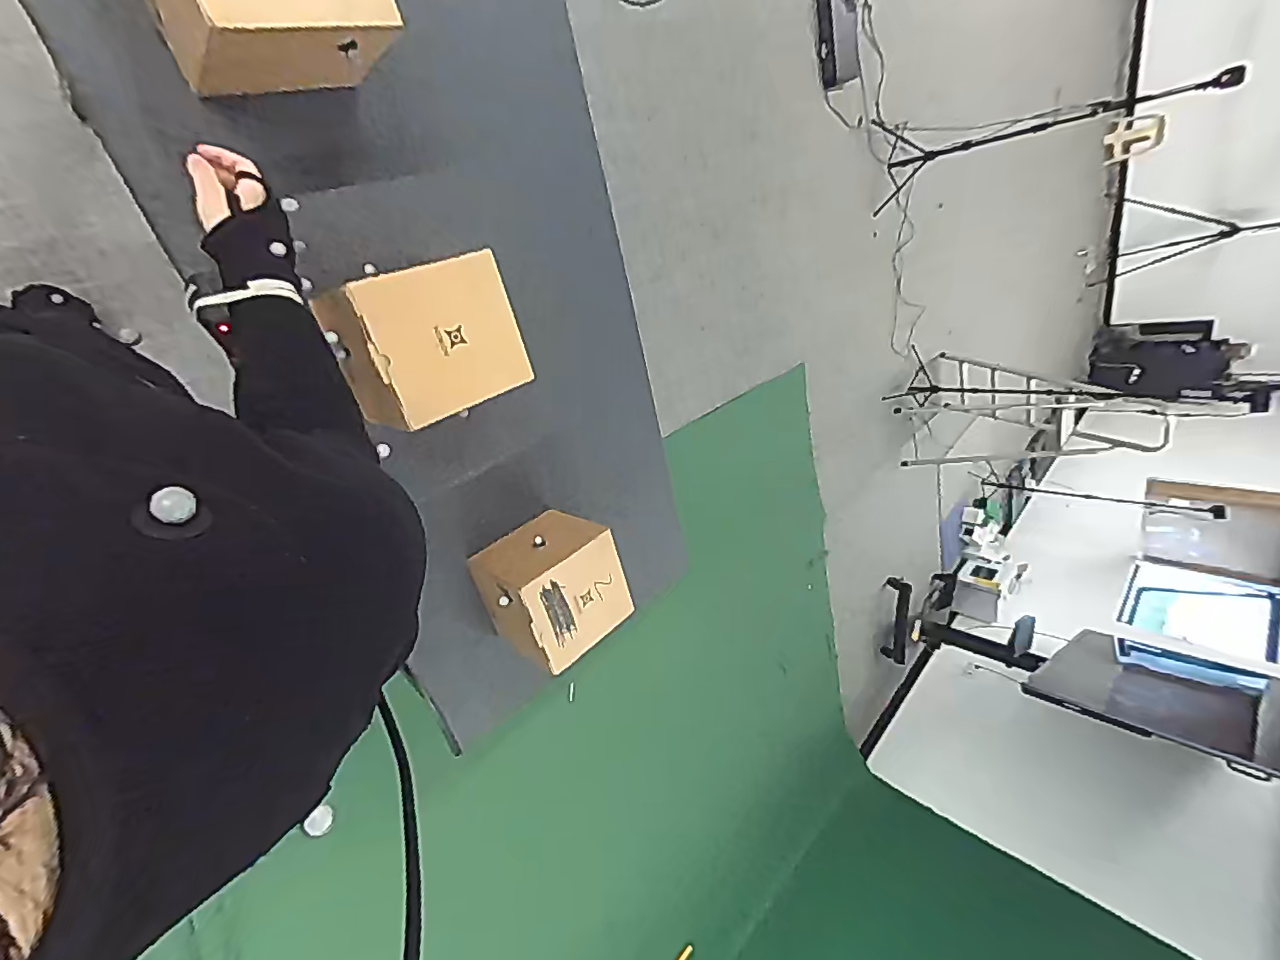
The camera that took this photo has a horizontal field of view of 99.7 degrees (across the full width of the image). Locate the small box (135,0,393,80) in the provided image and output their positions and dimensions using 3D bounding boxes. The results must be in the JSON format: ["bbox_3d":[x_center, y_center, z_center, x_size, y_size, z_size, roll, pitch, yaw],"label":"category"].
[{"bbox_3d":[-0.377,-0.505,0.512,0.179,0.176,0.168,-34,122,-34],"label":"small box"}]

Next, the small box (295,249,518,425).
[{"bbox_3d":[-0.290,-0.184,0.680,0.179,0.176,0.168,-33,123,-36],"label":"small box"}]
